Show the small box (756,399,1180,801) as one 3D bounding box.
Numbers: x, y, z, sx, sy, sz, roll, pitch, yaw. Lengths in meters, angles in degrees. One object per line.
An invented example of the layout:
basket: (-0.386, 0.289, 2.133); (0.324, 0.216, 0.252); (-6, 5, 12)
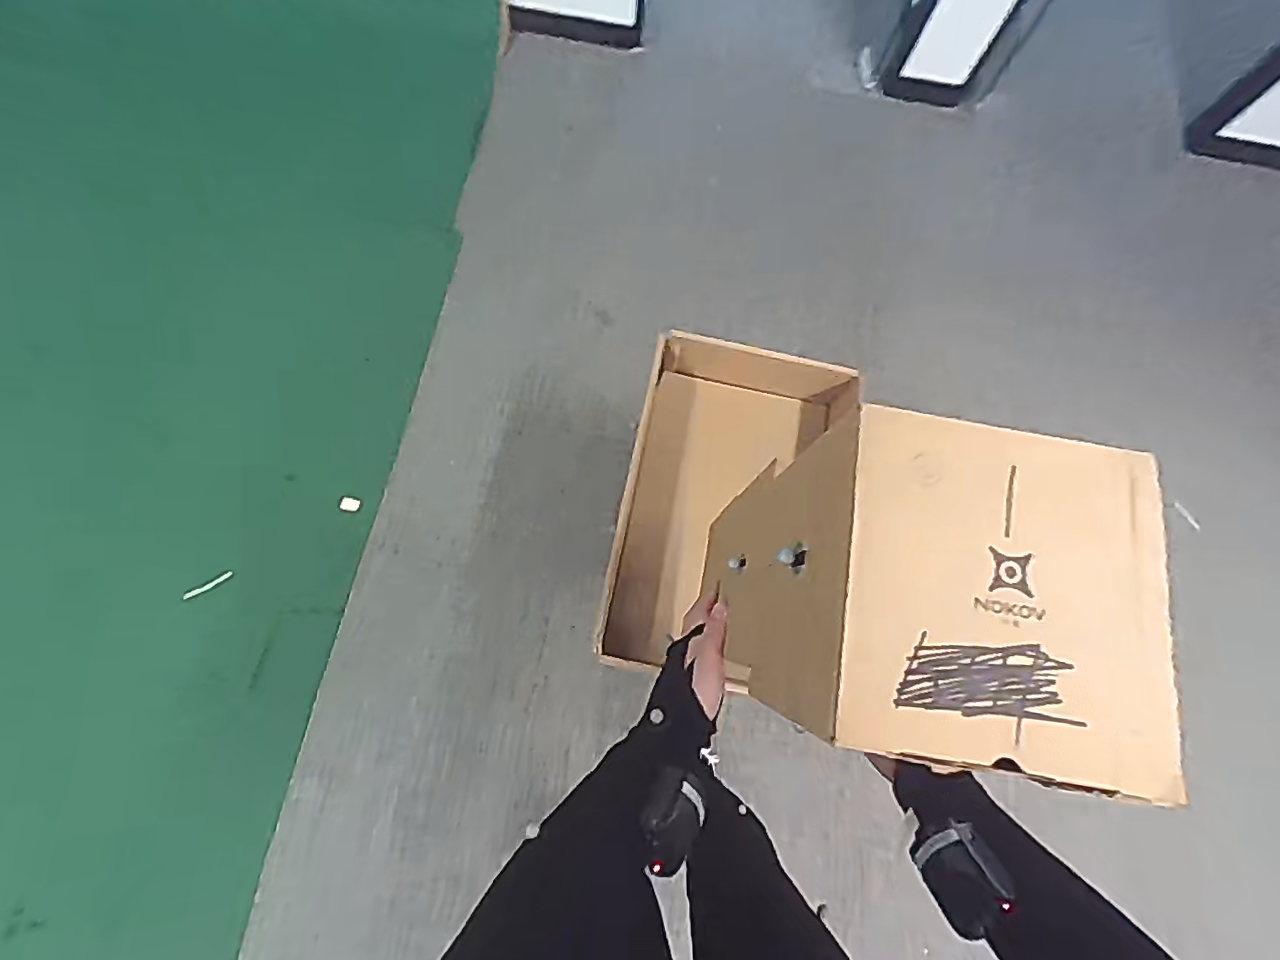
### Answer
small box: (0.178, 0.071, 0.347); (0.168, 0.176, 0.179); (10, 75, 0)

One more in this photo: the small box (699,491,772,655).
small box: (0.173, 0.129, 0.670); (0.168, 0.176, 0.179); (11, 76, 1)
